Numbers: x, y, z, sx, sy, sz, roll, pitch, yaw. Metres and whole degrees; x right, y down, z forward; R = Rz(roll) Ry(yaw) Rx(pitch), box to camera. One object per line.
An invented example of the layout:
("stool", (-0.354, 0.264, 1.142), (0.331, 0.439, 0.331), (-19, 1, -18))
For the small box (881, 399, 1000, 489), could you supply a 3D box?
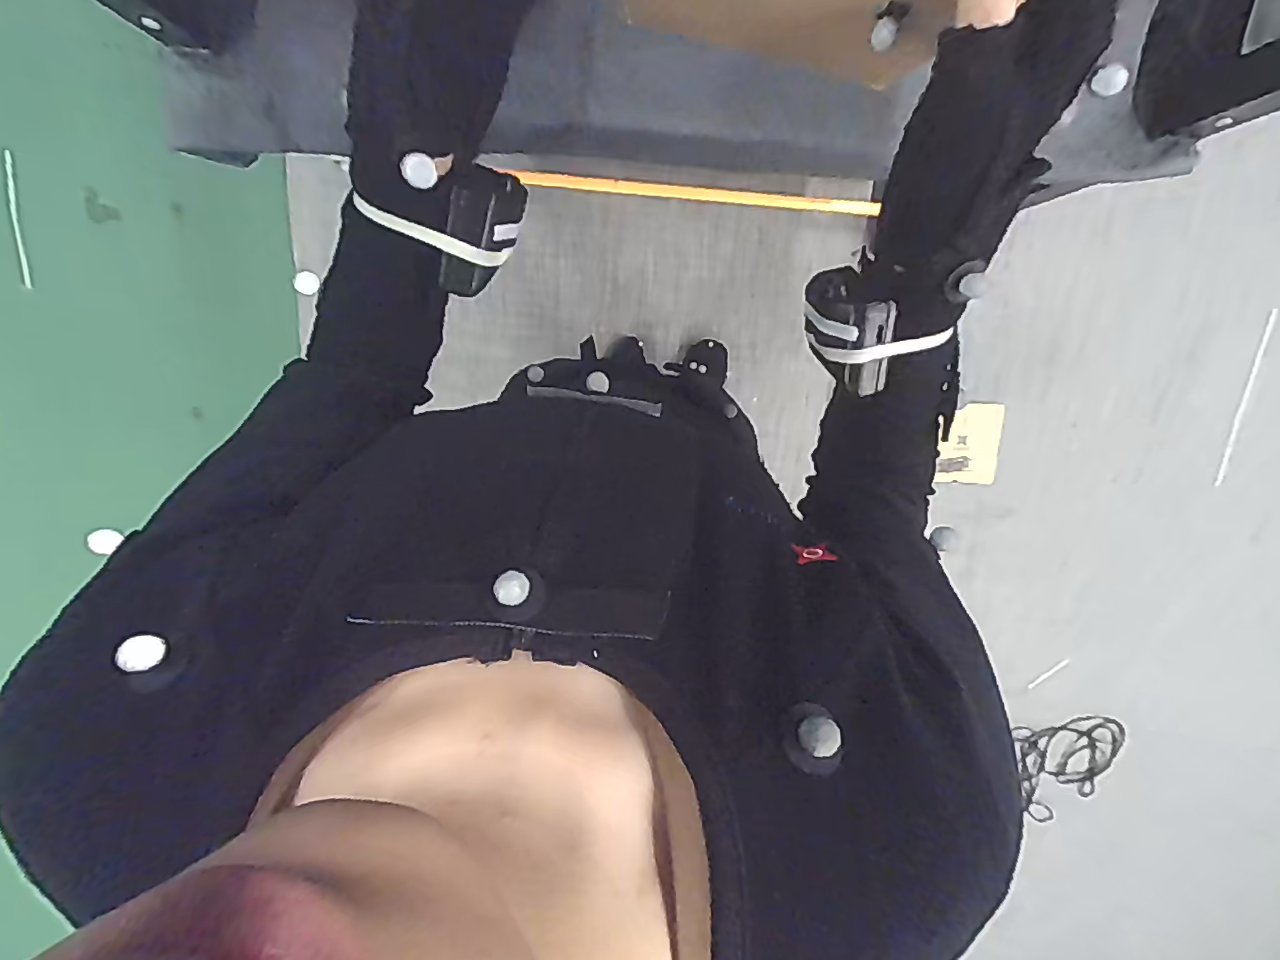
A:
("small box", (0.668, -0.086, 1.225), (0.168, 0.176, 0.179), (2, 103, -2))
